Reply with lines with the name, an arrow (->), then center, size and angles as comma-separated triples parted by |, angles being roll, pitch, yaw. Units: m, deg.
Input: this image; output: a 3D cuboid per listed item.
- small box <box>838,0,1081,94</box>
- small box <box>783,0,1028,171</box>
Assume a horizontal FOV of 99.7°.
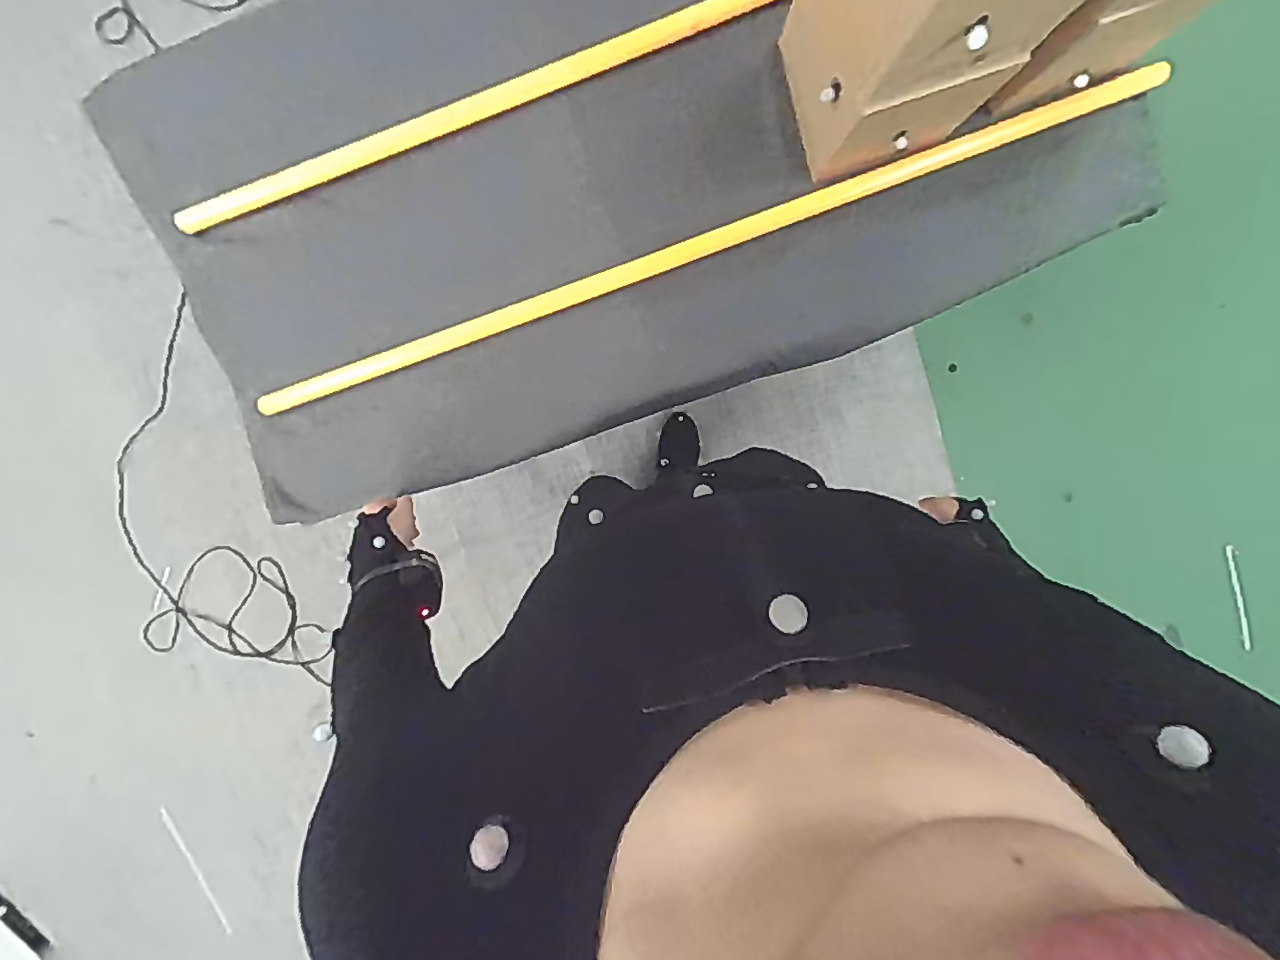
small box -> 0.265, -0.448, 0.427 | 0.168, 0.176, 0.179 | -16, 97, 4
small box -> 0.271, -0.467, 0.588 | 0.168, 0.176, 0.179 | -17, 97, 3
